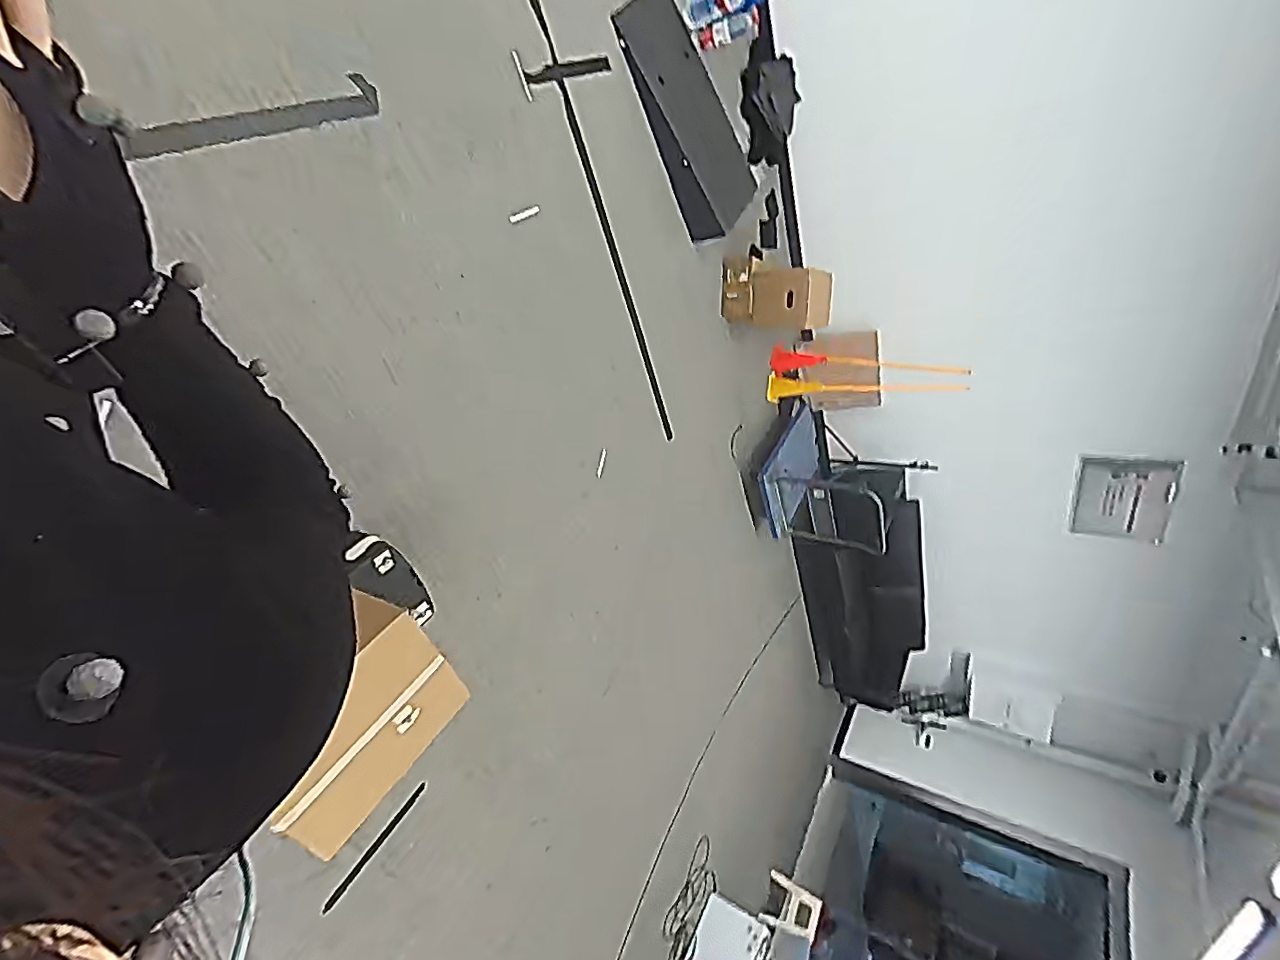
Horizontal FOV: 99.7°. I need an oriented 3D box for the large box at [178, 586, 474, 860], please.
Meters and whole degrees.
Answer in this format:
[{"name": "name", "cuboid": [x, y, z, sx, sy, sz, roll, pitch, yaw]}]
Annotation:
[{"name": "large box", "cuboid": [-0.665, 0.503, 1.192, 0.408, 0.320, 0.320, -50, 132, -39]}]
